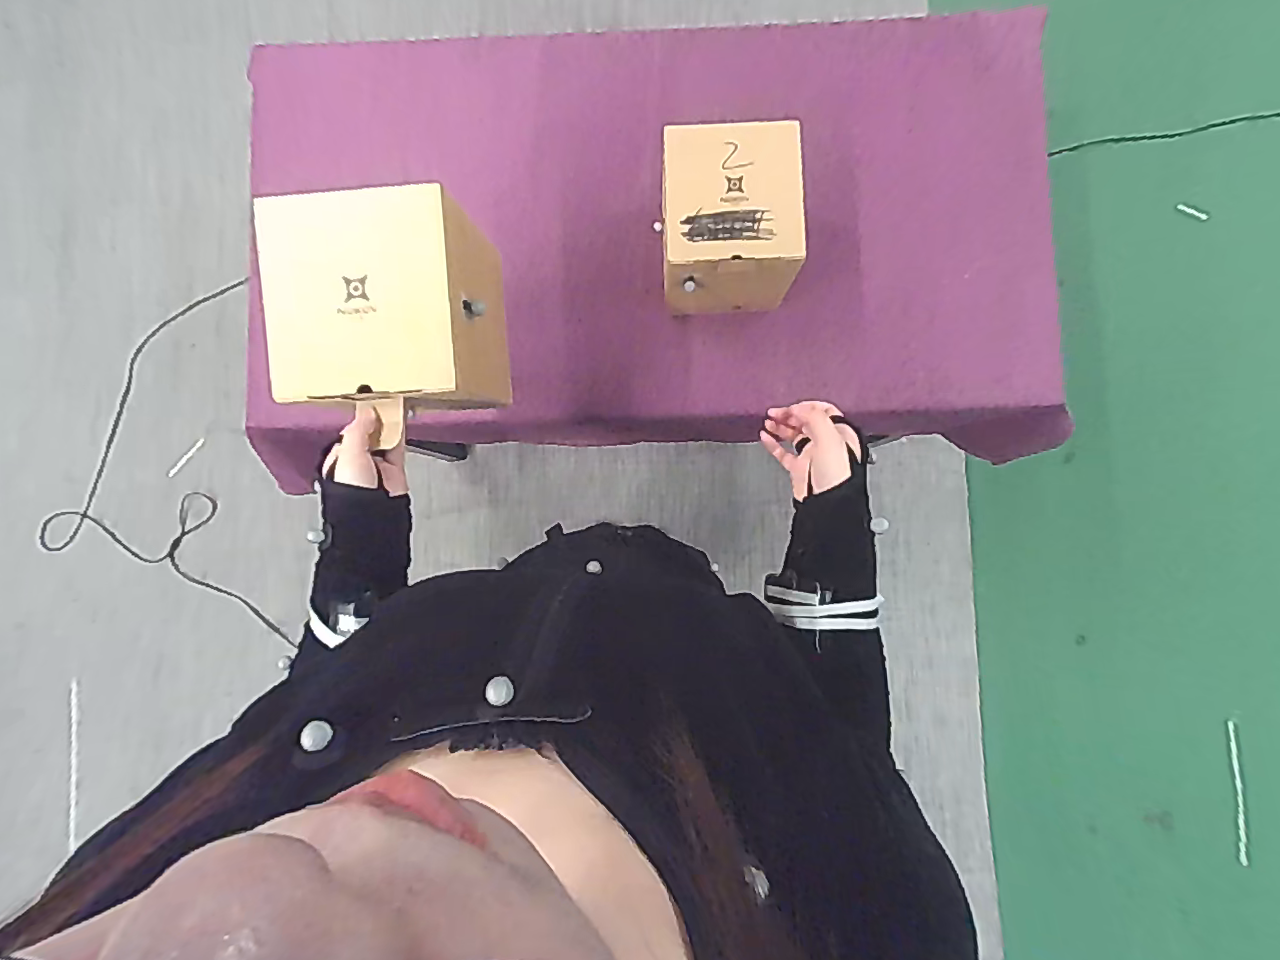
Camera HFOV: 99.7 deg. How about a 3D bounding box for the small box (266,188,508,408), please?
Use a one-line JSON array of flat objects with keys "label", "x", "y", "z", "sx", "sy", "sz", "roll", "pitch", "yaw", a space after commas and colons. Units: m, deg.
[{"label": "small box", "x": -0.242, "y": -0.170, "z": 0.558, "sx": 0.168, "sy": 0.176, "sz": 0.179, "roll": -3, "pitch": 94, "yaw": 3}]
